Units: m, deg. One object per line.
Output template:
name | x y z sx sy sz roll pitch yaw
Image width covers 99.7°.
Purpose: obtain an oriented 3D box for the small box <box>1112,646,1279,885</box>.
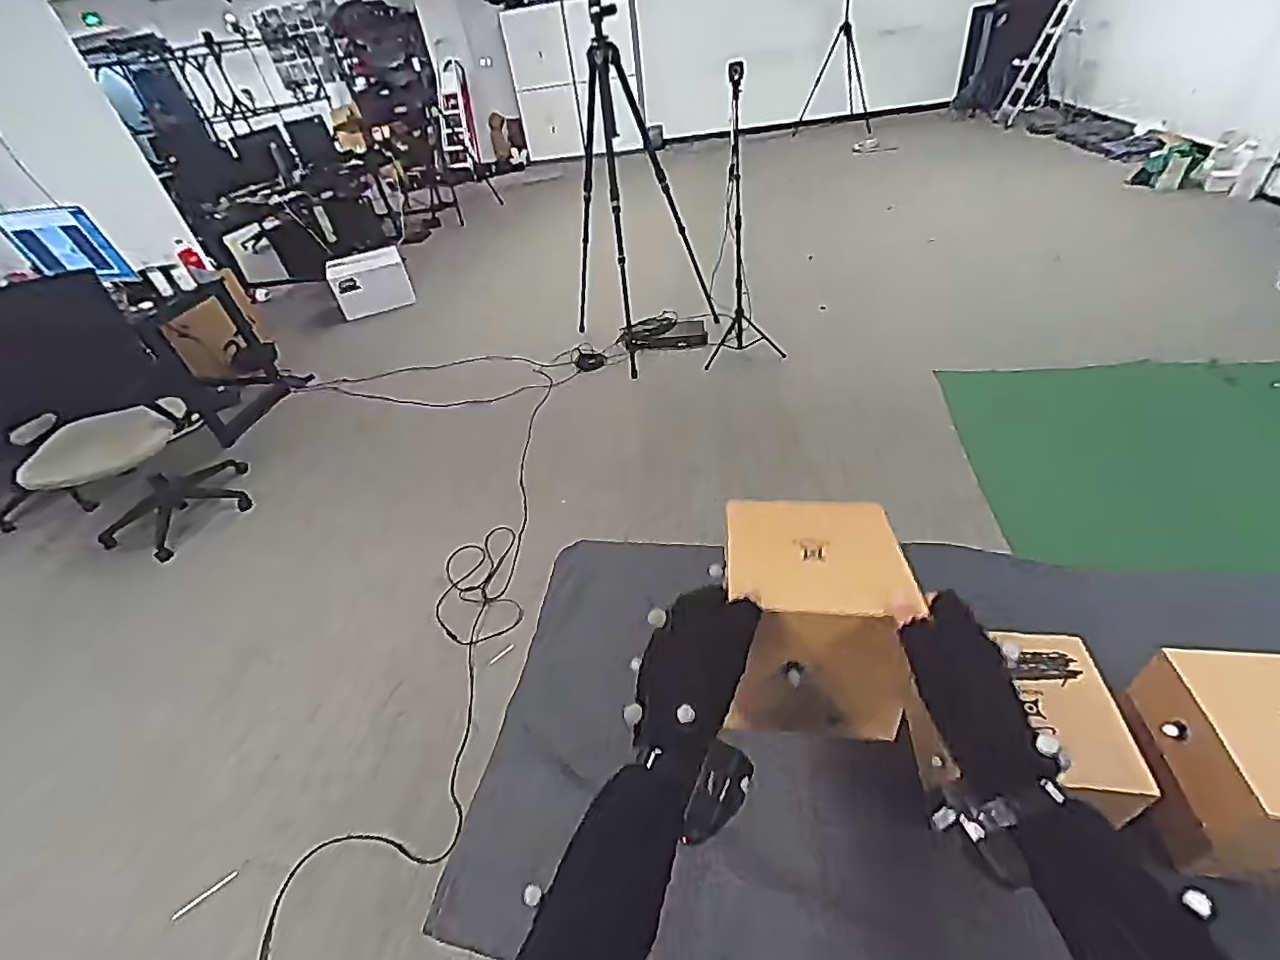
small box | 0.664 0.305 0.580 0.168 0.176 0.179 0 40 13
